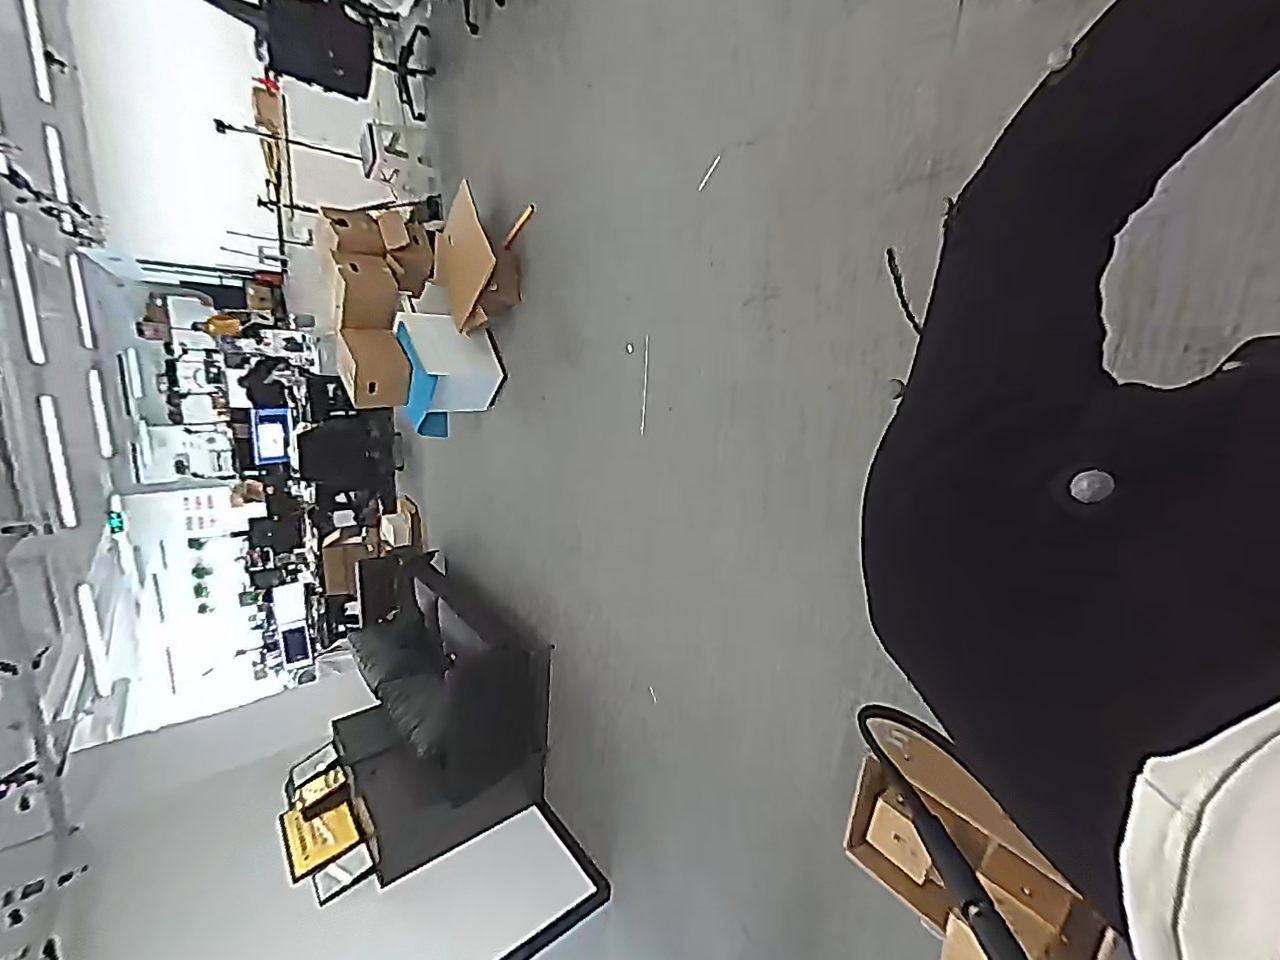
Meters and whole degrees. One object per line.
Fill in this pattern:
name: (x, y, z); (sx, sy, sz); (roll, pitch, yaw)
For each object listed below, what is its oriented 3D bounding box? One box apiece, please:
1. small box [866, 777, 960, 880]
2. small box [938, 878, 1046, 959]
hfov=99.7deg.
small box: (0.820, 1.032, 1.626); (0.179, 0.176, 0.168); (27, 116, 45)
small box: (0.865, 1.139, 1.326); (0.168, 0.176, 0.179); (18, 110, 50)
